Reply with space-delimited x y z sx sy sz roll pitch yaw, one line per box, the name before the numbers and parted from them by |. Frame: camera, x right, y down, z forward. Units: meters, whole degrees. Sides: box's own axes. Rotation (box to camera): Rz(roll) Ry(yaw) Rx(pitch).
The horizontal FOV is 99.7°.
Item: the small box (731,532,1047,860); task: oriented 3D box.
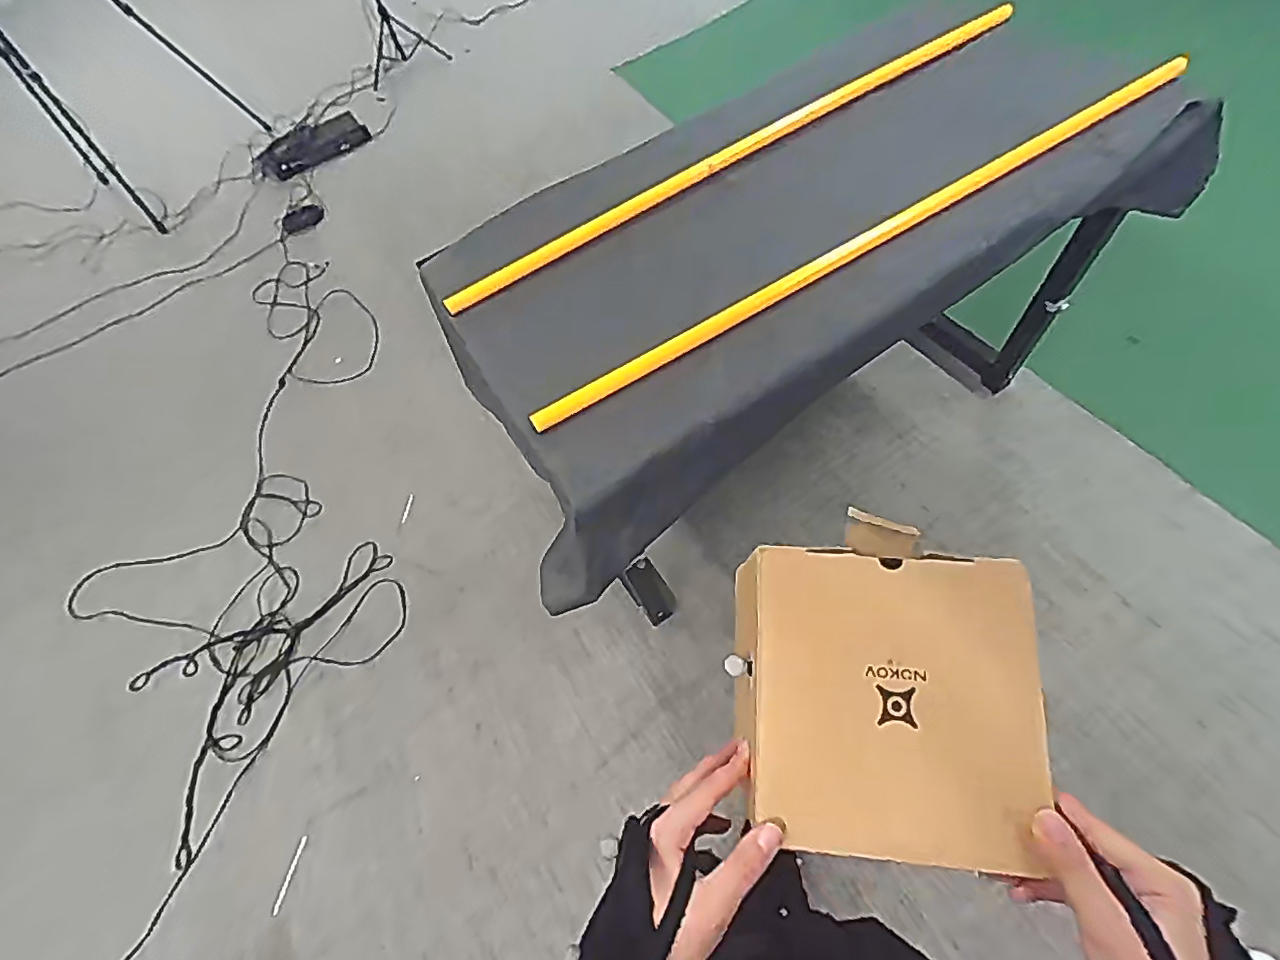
small box | 0.158 0.142 0.404 0.168 0.176 0.179 2 75 6
